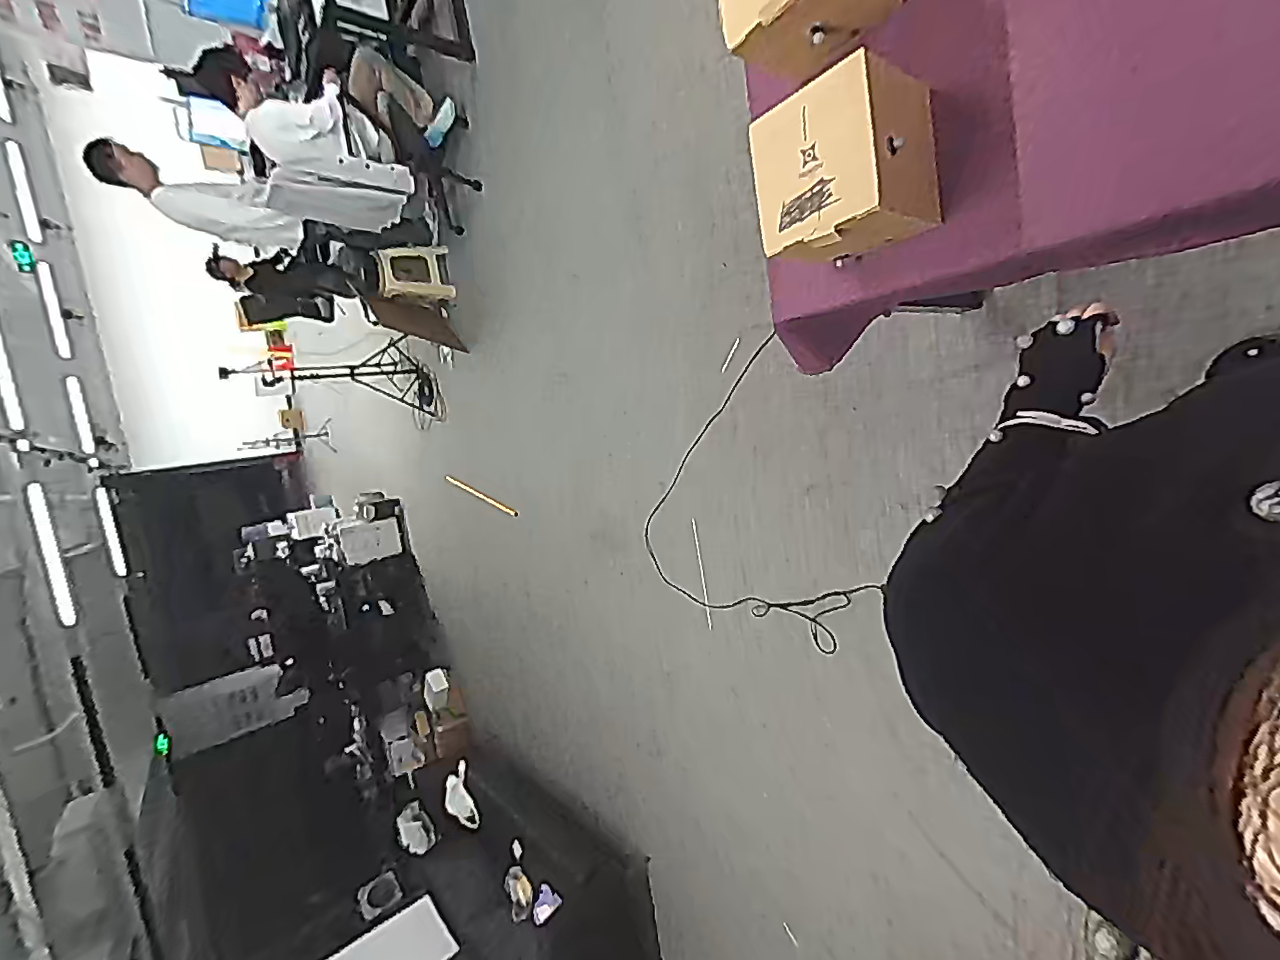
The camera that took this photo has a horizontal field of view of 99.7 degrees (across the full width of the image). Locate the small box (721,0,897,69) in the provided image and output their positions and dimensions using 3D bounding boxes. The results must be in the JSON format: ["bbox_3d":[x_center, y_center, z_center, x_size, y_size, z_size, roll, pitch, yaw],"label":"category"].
[{"bbox_3d":[0.218,-0.685,0.712,0.168,0.176,0.179,-7,96,51],"label":"small box"}]

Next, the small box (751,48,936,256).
[{"bbox_3d":[0.274,-0.412,0.722,0.168,0.176,0.179,-2,97,51],"label":"small box"}]
